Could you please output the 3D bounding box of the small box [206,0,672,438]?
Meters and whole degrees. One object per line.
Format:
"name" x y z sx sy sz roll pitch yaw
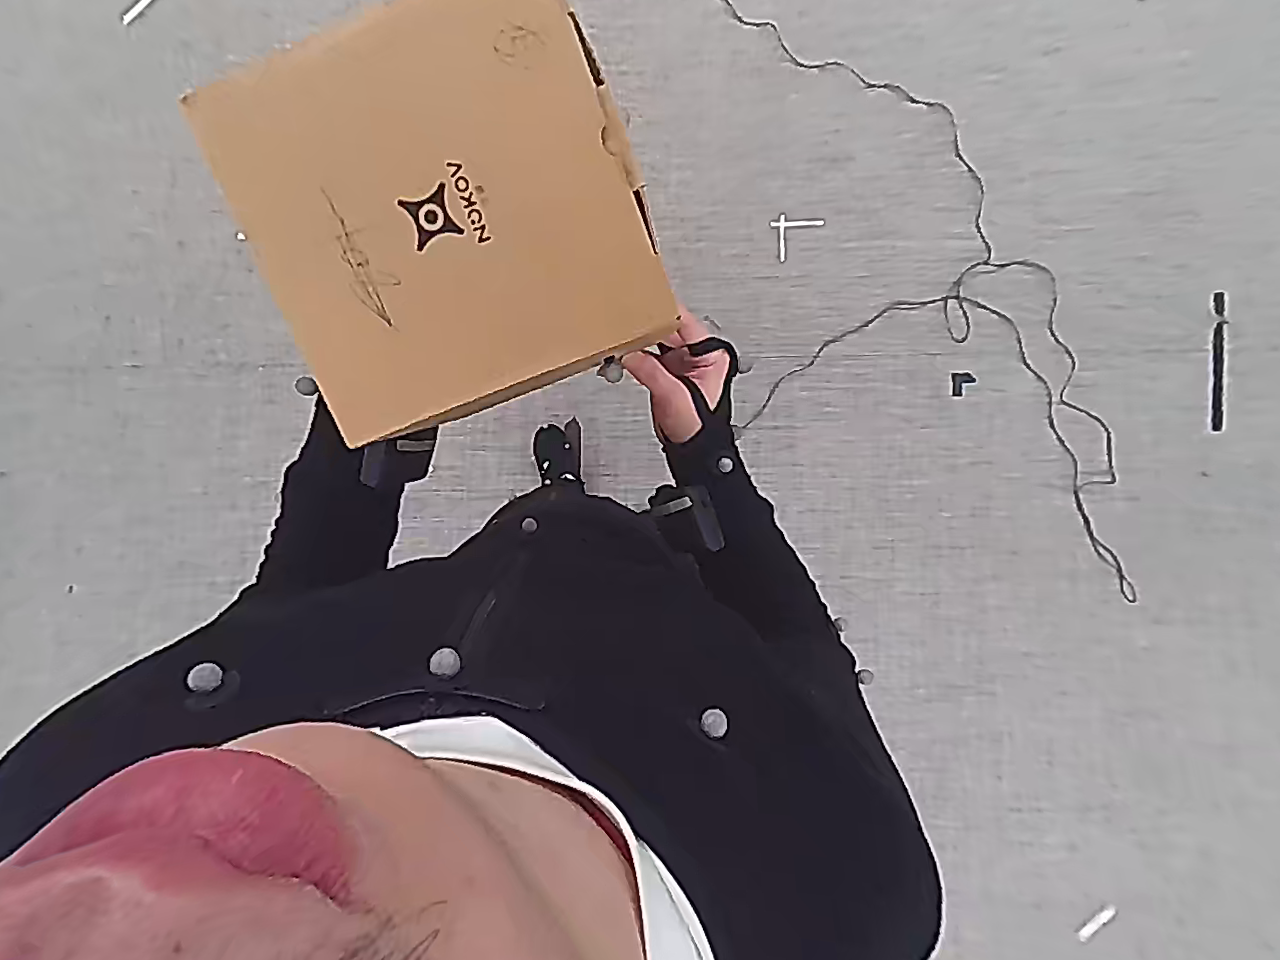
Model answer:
"small box" -0.092 -0.140 0.335 0.179 0.176 0.168 -21 100 5
